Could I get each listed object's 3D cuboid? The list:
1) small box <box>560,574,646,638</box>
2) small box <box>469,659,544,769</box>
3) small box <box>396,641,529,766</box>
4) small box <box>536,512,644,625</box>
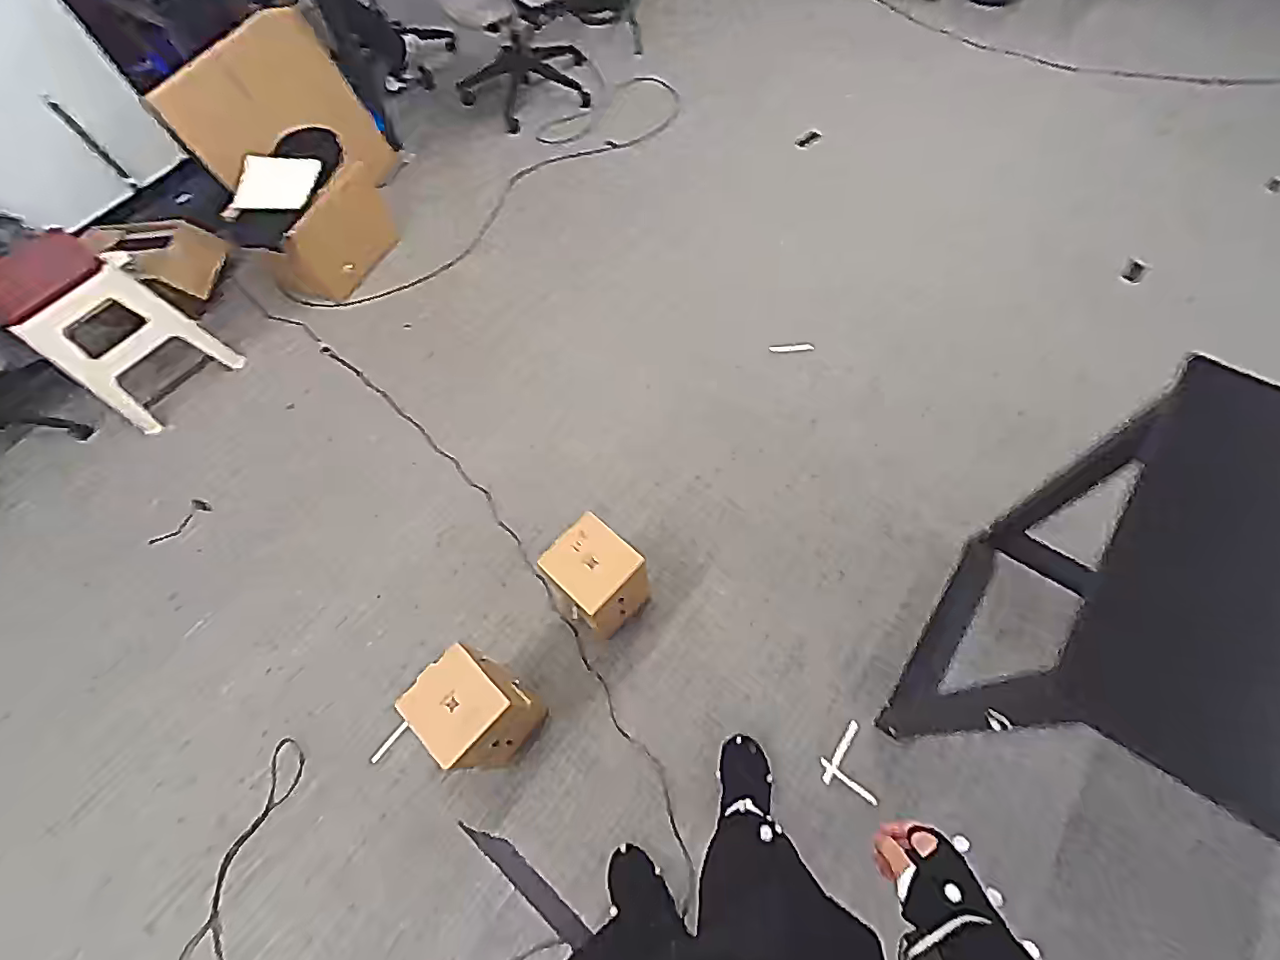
[{"bbox_3d":[-0.099,0.277,1.389,0.179,0.176,0.168,-42,67,-15],"label":"small box"},{"bbox_3d":[-0.351,0.548,1.273,0.168,0.176,0.179,34,71,19],"label":"small box"},{"bbox_3d":[-0.362,0.469,1.130,0.179,0.176,0.168,38,73,20],"label":"small box"},{"bbox_3d":[-0.106,0.211,1.238,0.179,0.176,0.168,38,71,21],"label":"small box"}]
